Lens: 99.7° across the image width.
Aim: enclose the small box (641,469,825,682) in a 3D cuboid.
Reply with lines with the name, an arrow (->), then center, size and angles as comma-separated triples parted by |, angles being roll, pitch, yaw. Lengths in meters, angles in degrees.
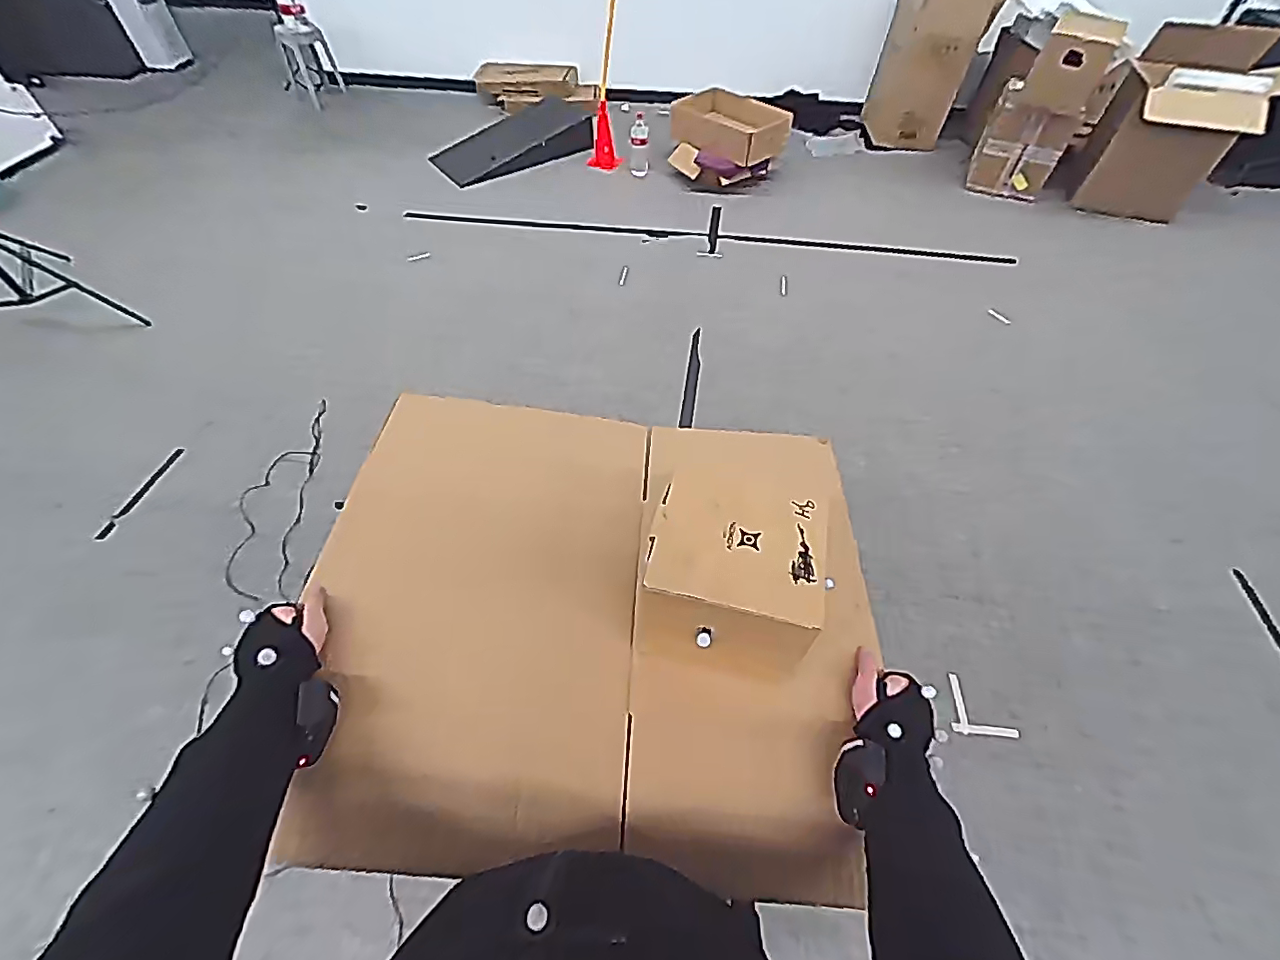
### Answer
small box -> 0.104, 0.114, 0.630 | 0.179, 0.176, 0.168 | 11, 51, 9
